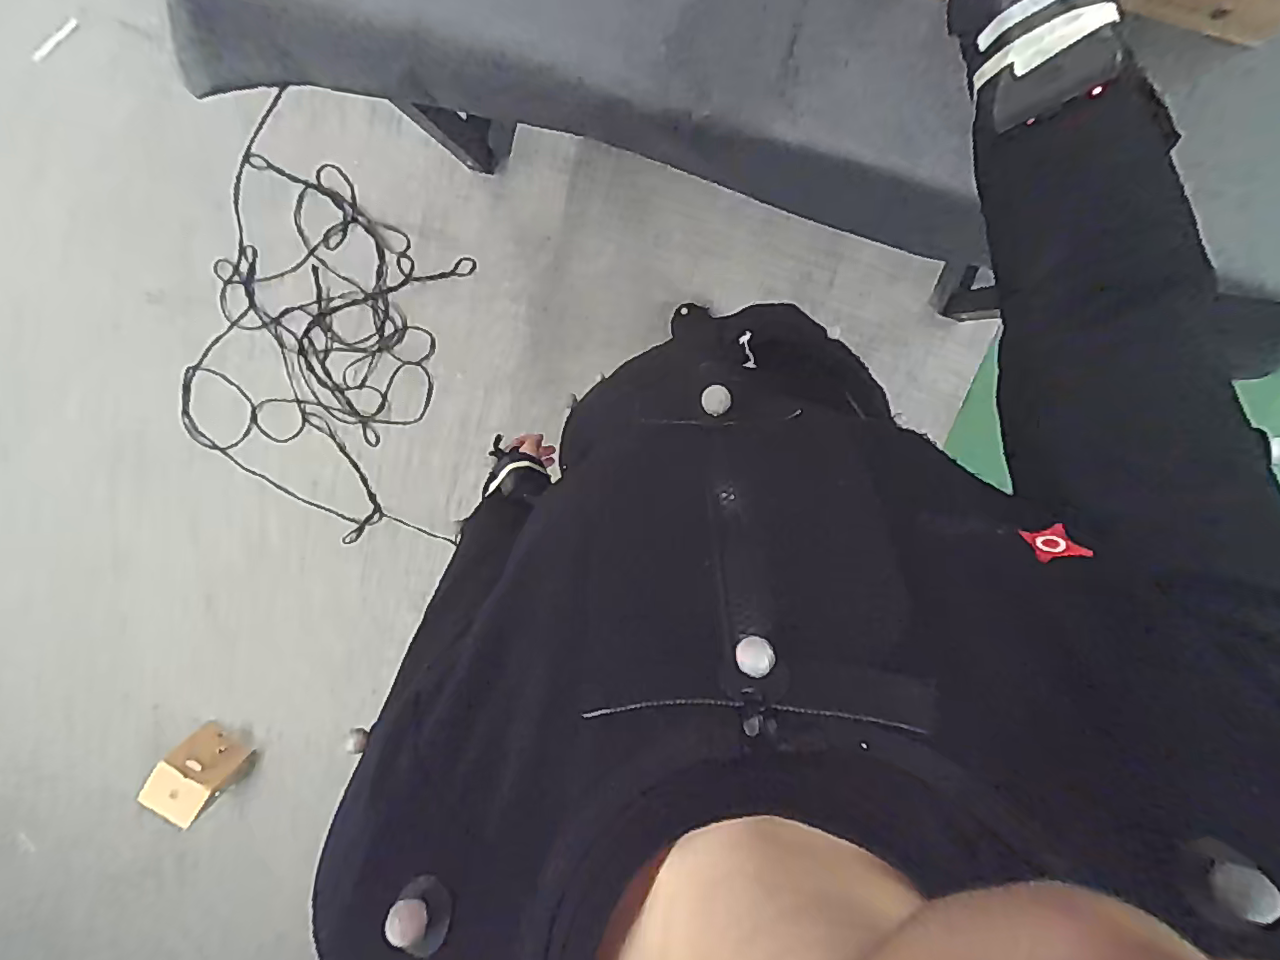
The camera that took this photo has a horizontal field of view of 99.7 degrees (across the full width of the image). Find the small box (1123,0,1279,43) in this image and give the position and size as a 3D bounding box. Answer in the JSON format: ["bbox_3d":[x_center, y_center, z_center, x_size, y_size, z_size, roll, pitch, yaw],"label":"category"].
[{"bbox_3d":[0.488,-0.464,0.383,0.168,0.176,0.179,15,103,-2],"label":"small box"}]

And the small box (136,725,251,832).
[{"bbox_3d":[-1.298,0.869,1.585,0.168,0.176,0.179,36,103,-5],"label":"small box"}]
